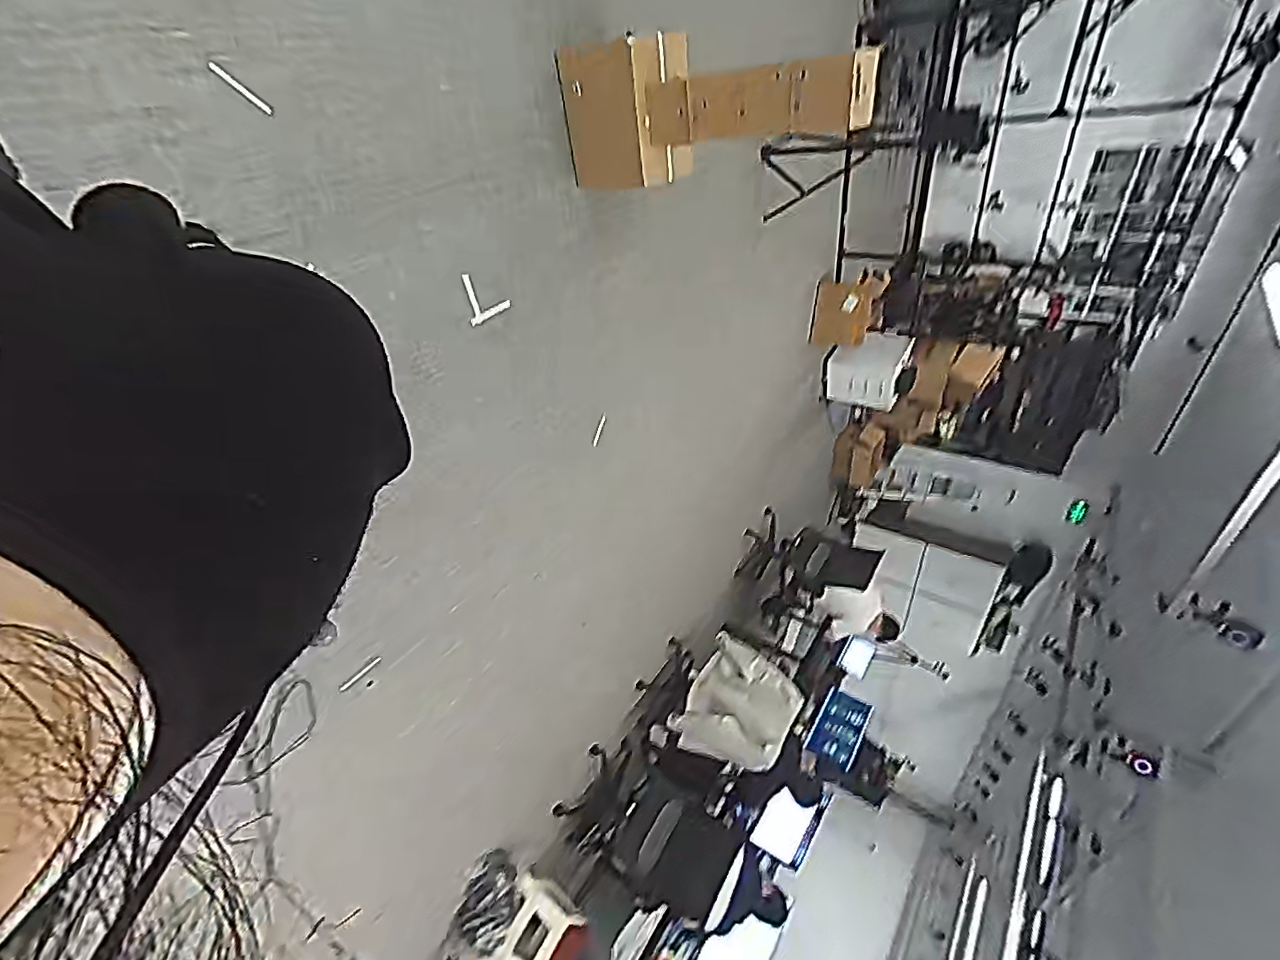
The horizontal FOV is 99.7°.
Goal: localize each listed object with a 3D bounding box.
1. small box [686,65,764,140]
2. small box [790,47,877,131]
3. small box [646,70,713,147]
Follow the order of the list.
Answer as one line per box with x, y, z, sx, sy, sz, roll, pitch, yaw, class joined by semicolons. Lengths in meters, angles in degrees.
0.258;-1.142;1.636;0.179;0.176;0.168;-42;137;-35;small box
0.516;-1.049;1.455;0.179;0.176;0.168;-41;137;-38;small box
0.135;-1.187;1.732;0.168;0.176;0.179;-43;138;-35;small box
